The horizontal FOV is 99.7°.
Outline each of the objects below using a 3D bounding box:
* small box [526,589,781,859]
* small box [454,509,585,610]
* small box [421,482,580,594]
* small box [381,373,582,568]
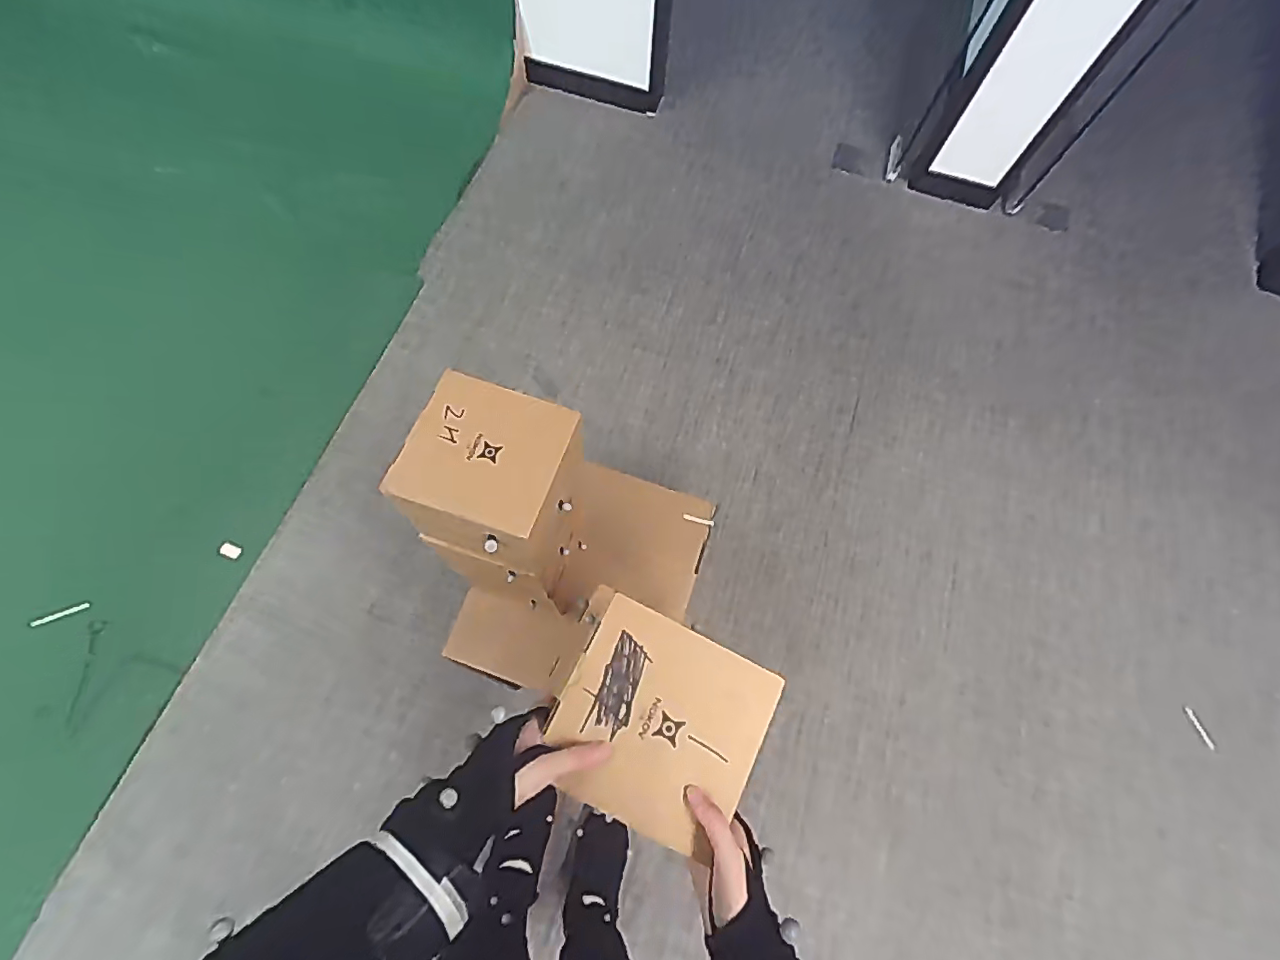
[{"bbox_3d":[0.007,0.228,0.547,0.179,0.176,0.168,28,75,1],"label":"small box"},{"bbox_3d":[-0.205,0.129,0.985,0.179,0.176,0.168,16,67,4],"label":"small box"},{"bbox_3d":[-0.201,0.064,0.836,0.179,0.176,0.168,18,67,2],"label":"small box"},{"bbox_3d":[-0.180,-0.001,0.685,0.179,0.176,0.168,19,66,4],"label":"small box"}]
